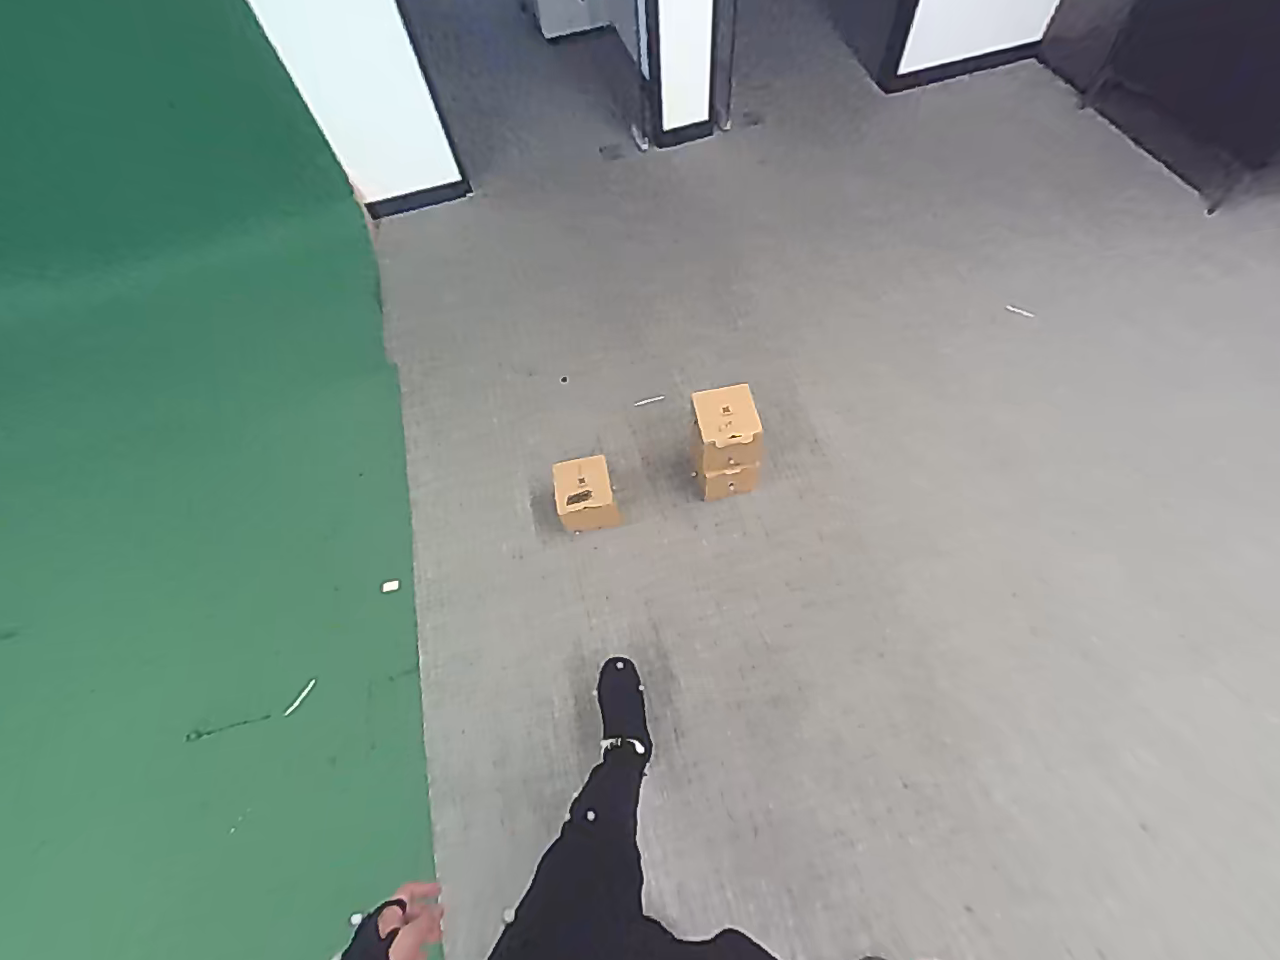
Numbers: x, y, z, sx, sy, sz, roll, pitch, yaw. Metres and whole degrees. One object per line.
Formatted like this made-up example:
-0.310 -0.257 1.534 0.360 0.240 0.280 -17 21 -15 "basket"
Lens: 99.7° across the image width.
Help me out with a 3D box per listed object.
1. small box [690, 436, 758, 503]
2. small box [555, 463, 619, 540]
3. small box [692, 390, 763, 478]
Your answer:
0.259 -0.043 1.699 0.168 0.176 0.179 -13 62 -3 "small box"
-0.162 0.075 1.688 0.168 0.176 0.179 -11 60 -2 "small box"
0.245 -0.130 1.560 0.168 0.176 0.179 -10 61 0 "small box"
